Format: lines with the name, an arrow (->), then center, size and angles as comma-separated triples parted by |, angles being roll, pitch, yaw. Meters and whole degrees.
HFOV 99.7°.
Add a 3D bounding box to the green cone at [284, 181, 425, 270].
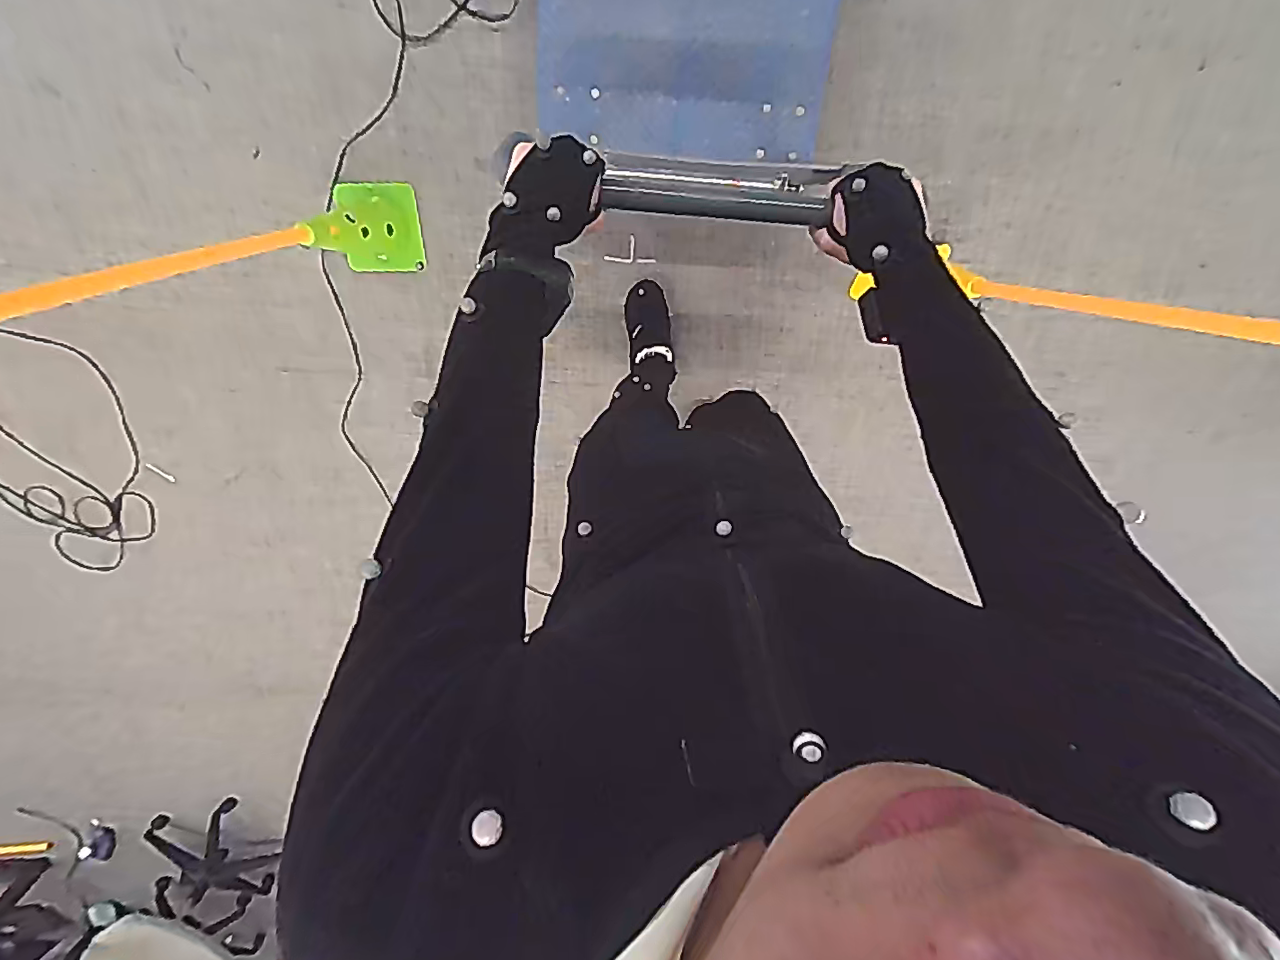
green cone -> -0.653, -0.557, 1.196 | 0.202, 0.368, 0.200 | 0, 116, 2
